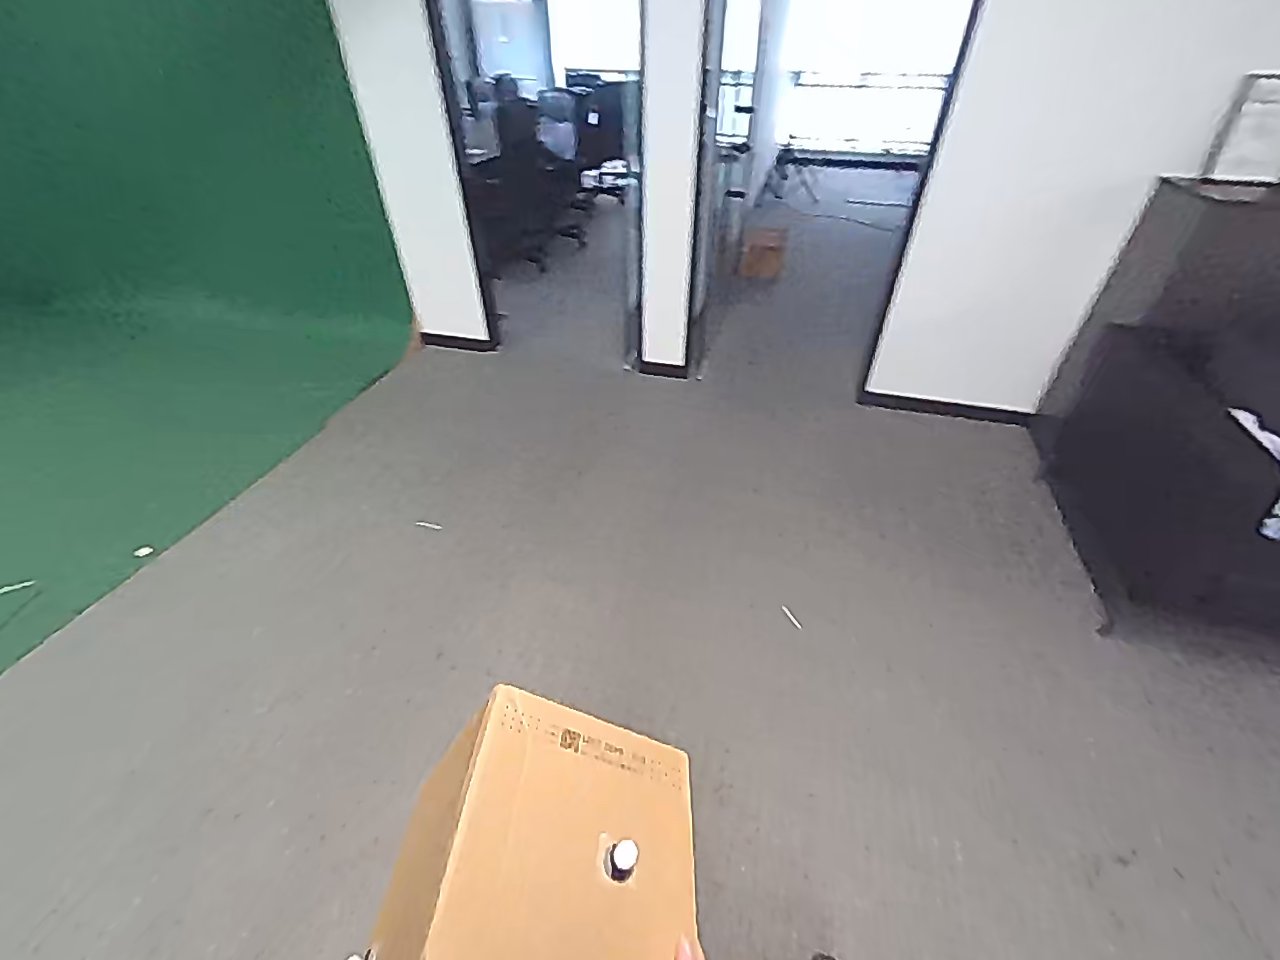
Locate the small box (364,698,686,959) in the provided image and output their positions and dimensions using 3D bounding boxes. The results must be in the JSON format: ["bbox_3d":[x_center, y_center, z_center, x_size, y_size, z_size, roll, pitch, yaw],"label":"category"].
[{"bbox_3d":[-0.085,0.292,0.394,0.168,0.179,0.176,27,30,-15],"label":"small box"}]
